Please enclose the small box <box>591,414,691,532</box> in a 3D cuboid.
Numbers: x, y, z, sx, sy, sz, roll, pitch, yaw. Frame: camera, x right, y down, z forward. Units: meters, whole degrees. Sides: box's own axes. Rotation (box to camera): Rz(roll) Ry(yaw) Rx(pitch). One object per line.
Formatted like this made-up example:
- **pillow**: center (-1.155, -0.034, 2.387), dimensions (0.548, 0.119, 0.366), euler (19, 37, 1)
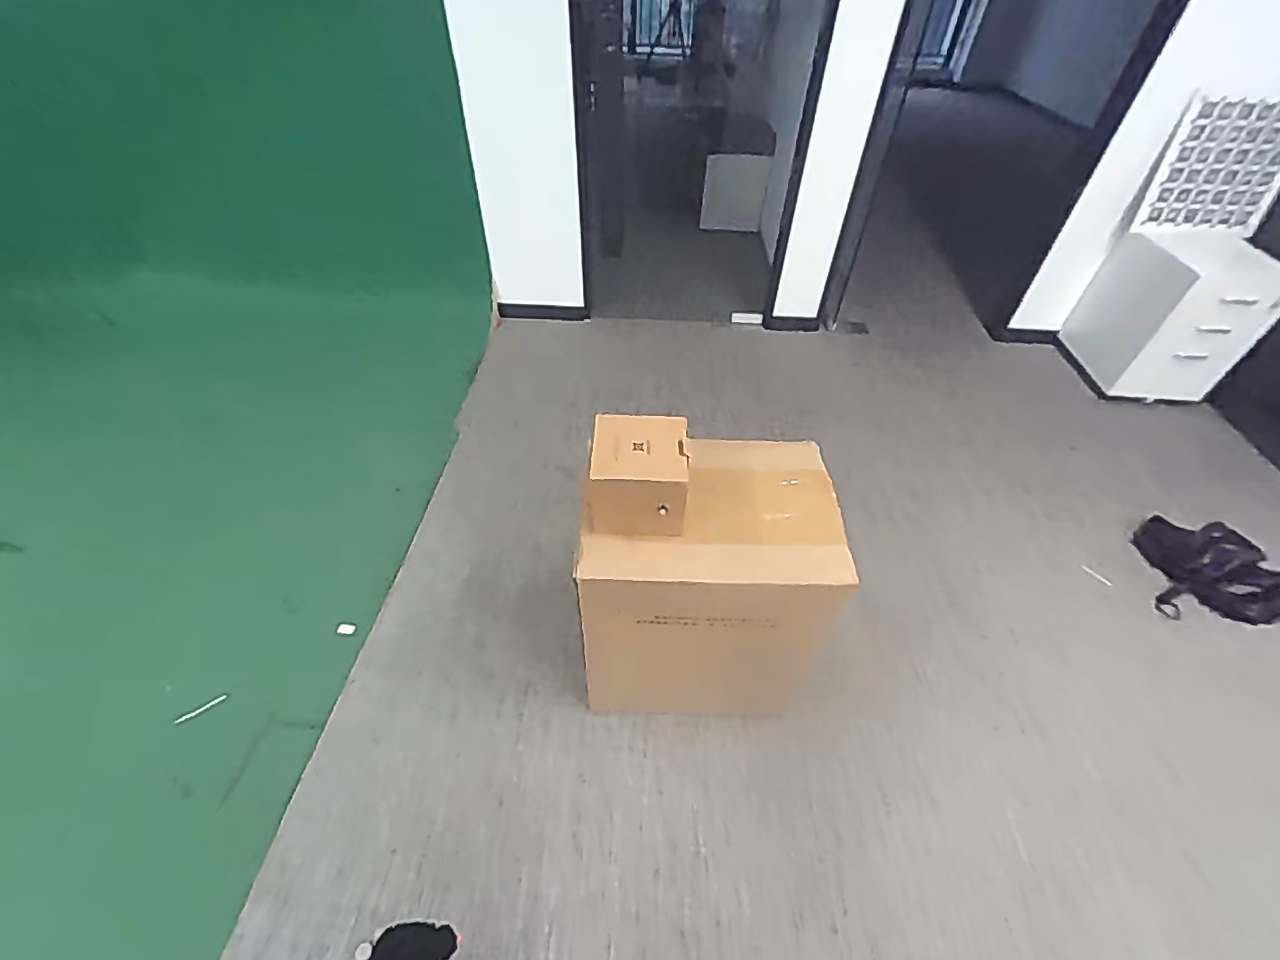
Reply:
- **small box**: center (0.003, -0.010, 1.052), dimensions (0.179, 0.176, 0.168), euler (0, 50, 1)
